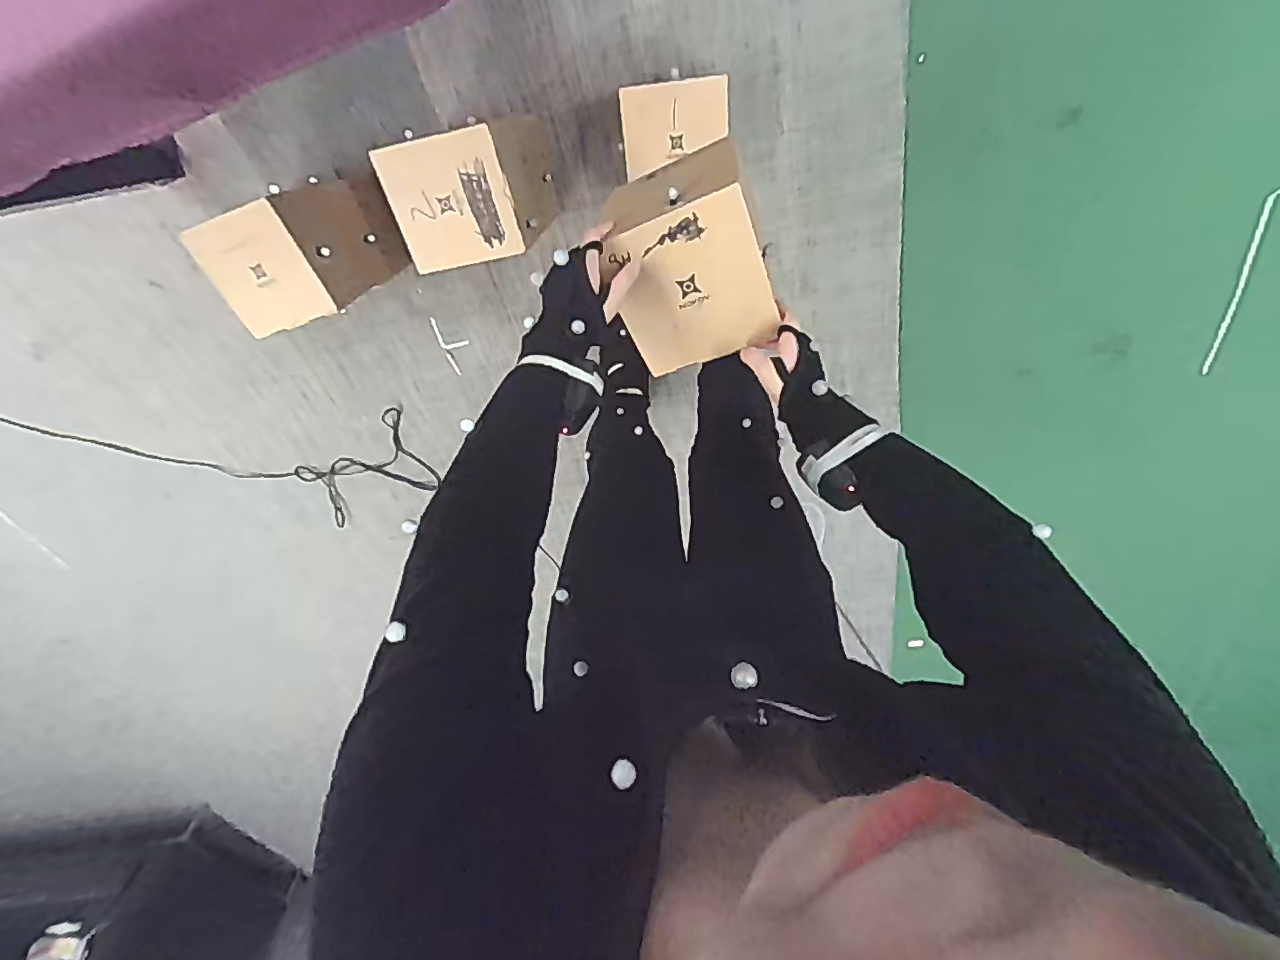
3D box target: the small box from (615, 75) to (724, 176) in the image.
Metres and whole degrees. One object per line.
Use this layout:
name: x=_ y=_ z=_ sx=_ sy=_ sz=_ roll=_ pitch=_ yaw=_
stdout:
small box: x=0.054 y=-0.572 z=0.919 sx=0.168 sy=0.176 sz=0.179 roll=-4 pitch=125 yaw=5

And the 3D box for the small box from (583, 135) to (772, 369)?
small box: x=0.056 y=-0.269 z=0.647 sx=0.168 sy=0.176 sz=0.179 roll=-13 pitch=133 yaw=21
